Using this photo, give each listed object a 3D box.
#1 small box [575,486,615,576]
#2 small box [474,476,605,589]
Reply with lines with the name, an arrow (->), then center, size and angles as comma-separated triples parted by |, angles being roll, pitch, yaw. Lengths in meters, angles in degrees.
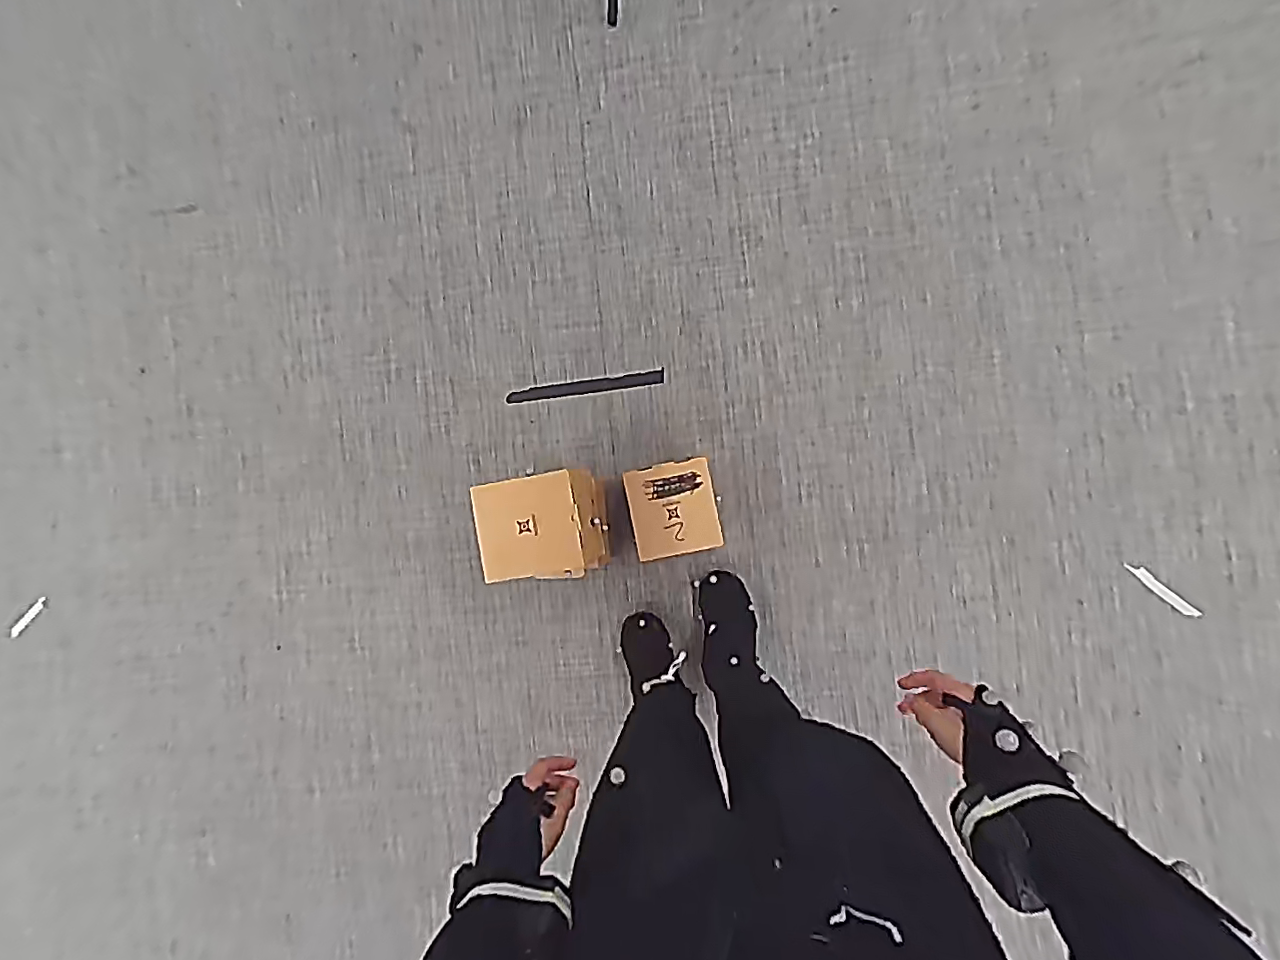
small box -> -0.149, 0.104, 1.132 | 0.168, 0.176, 0.179 | -4, 87, 7
small box -> -0.172, 0.091, 0.971 | 0.179, 0.176, 0.168 | -11, 87, 6
